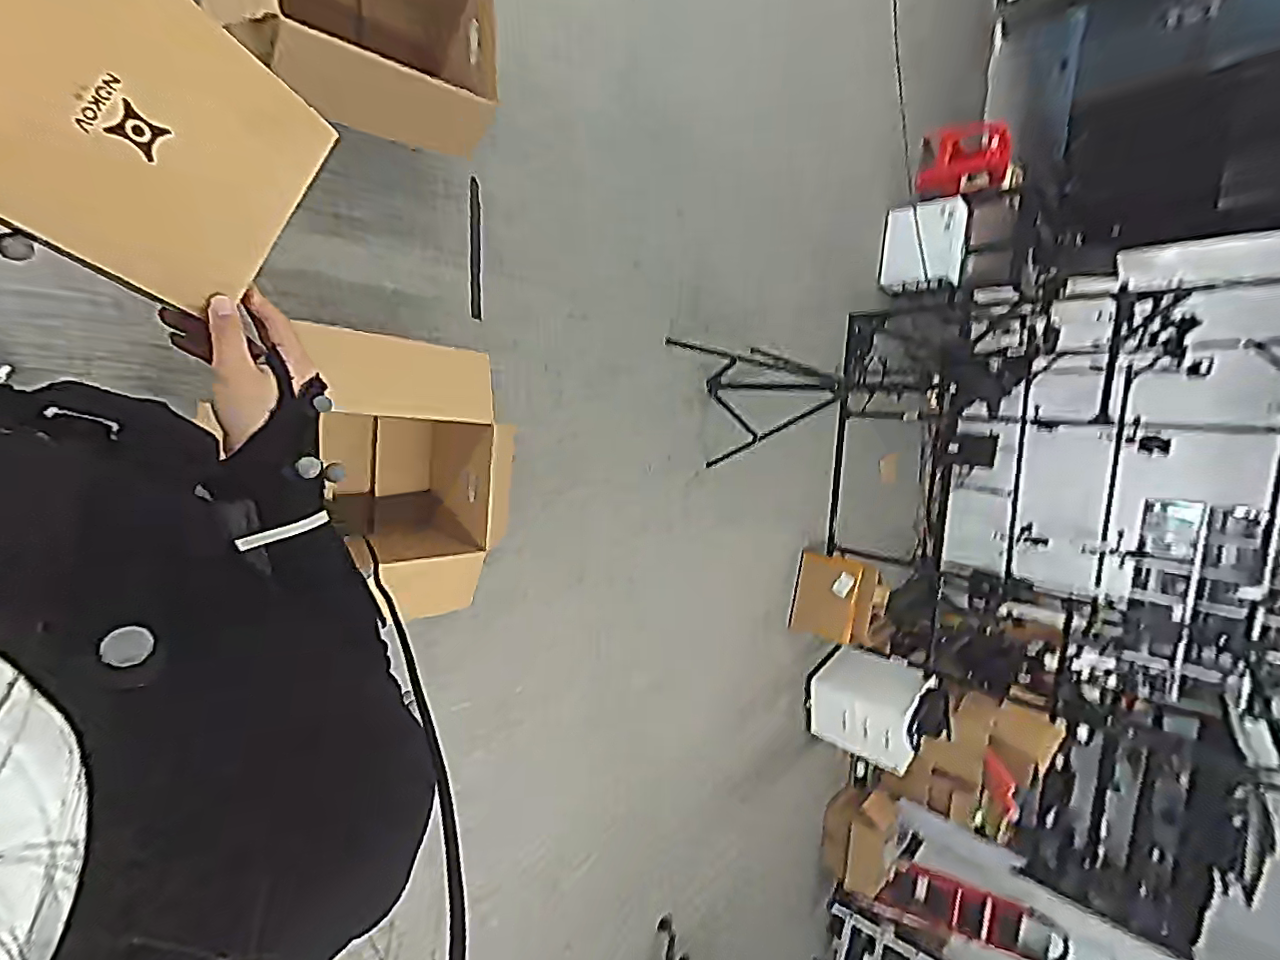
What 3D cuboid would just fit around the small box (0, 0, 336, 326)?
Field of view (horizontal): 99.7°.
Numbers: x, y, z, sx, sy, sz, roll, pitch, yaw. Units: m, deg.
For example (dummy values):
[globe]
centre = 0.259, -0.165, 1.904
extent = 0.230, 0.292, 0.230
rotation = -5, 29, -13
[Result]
[small box]
centre = -0.353, -0.229, 0.354
extent = 0.179, 0.176, 0.168
rotation = 34, 79, -55
